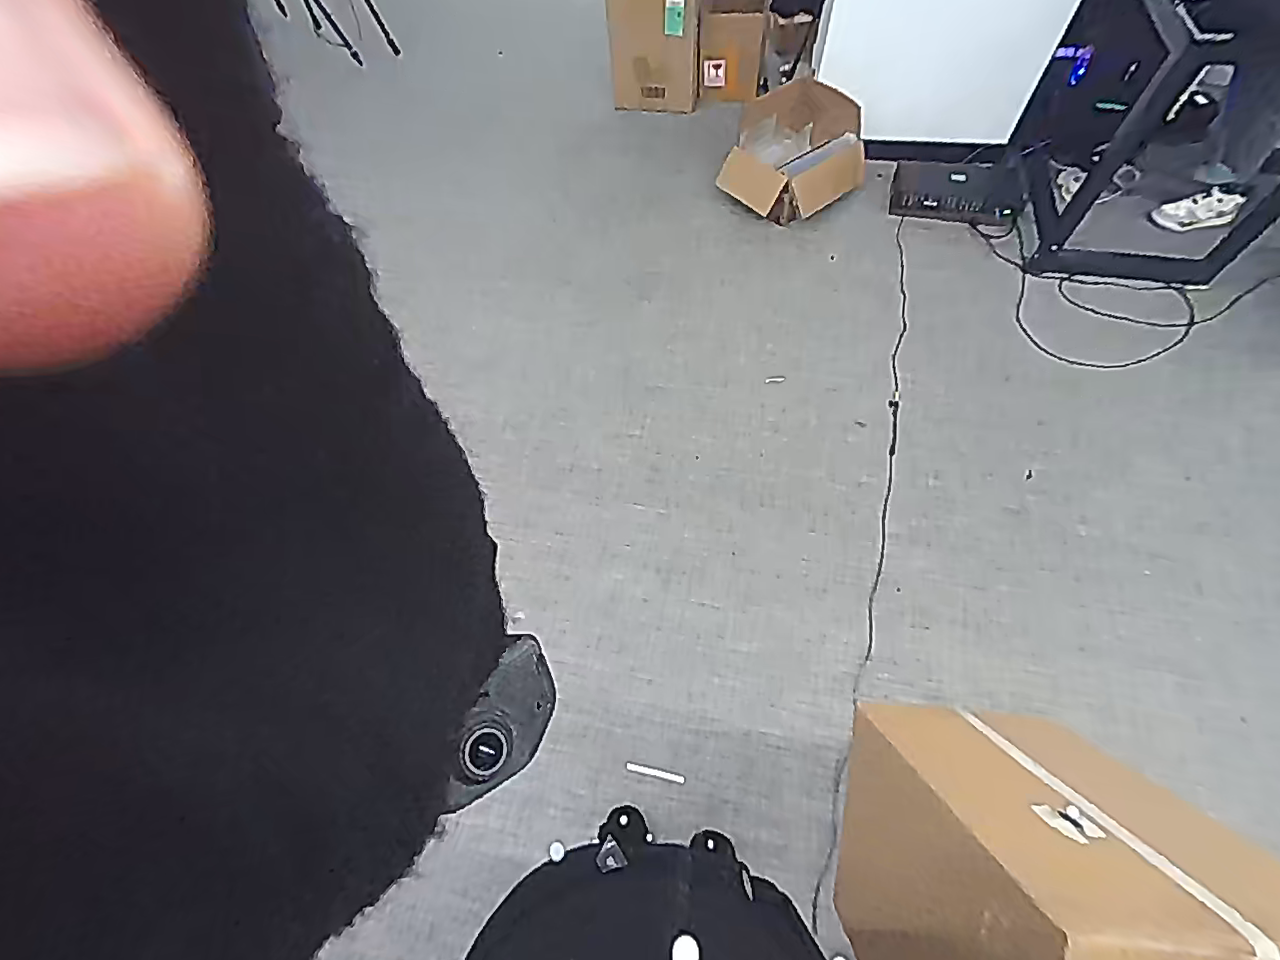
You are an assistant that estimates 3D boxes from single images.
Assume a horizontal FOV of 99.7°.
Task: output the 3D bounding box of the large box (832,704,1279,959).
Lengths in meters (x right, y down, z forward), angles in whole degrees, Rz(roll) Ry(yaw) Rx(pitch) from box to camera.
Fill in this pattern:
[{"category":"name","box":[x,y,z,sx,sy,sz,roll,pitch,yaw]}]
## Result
[{"category":"large box","box":[0.457,0.514,0.623,0.320,0.408,0.320,7,92,1]}]
